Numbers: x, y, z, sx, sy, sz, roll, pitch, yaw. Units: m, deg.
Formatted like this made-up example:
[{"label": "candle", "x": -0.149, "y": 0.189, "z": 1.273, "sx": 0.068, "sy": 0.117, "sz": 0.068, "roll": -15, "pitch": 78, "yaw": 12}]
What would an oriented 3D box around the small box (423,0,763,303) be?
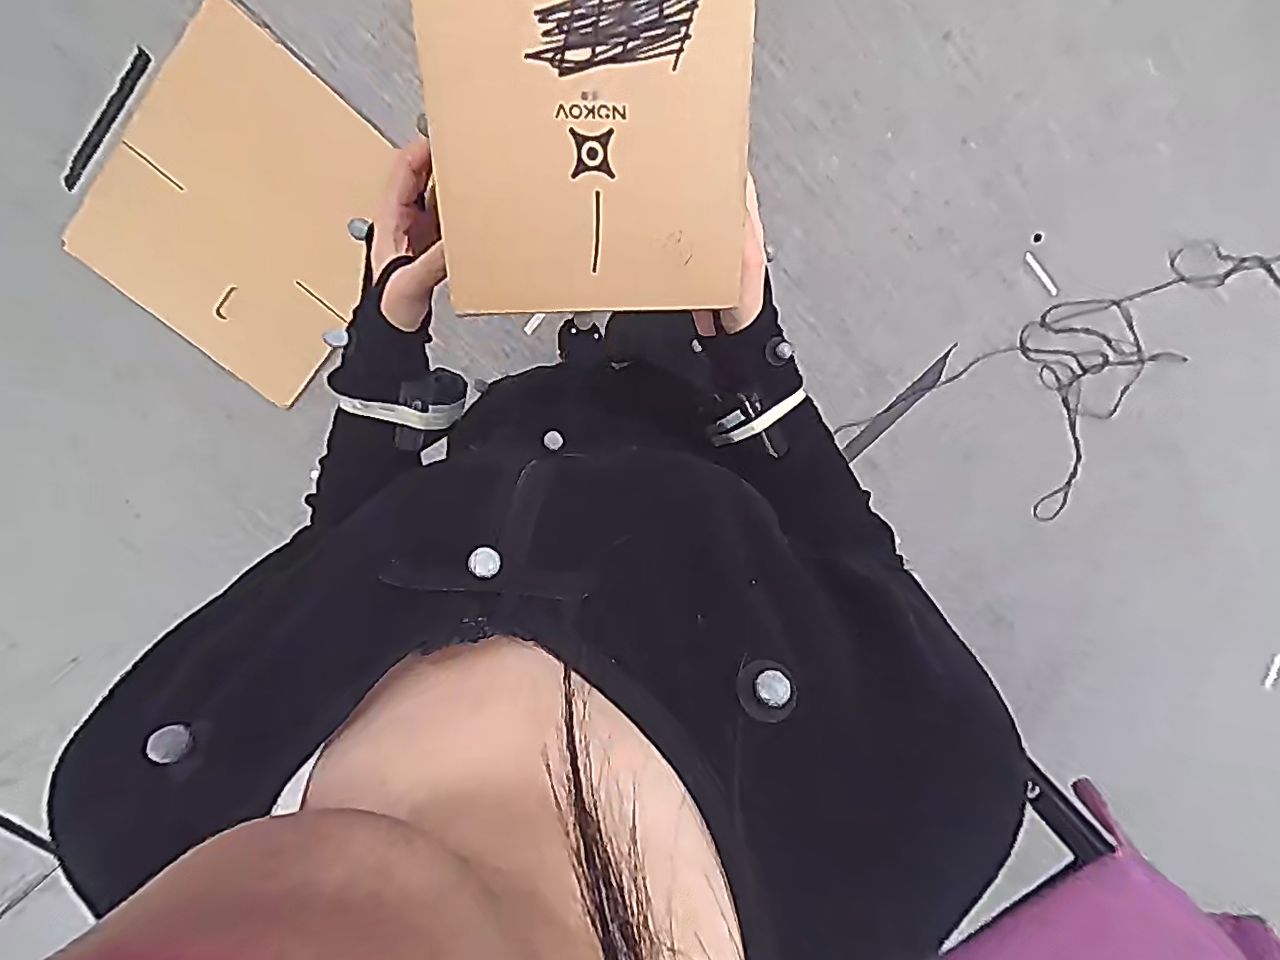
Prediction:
[{"label": "small box", "x": -0.031, "y": -0.208, "z": 0.349, "sx": 0.168, "sy": 0.176, "sz": 0.179, "roll": -3, "pitch": 110, "yaw": -7}]
